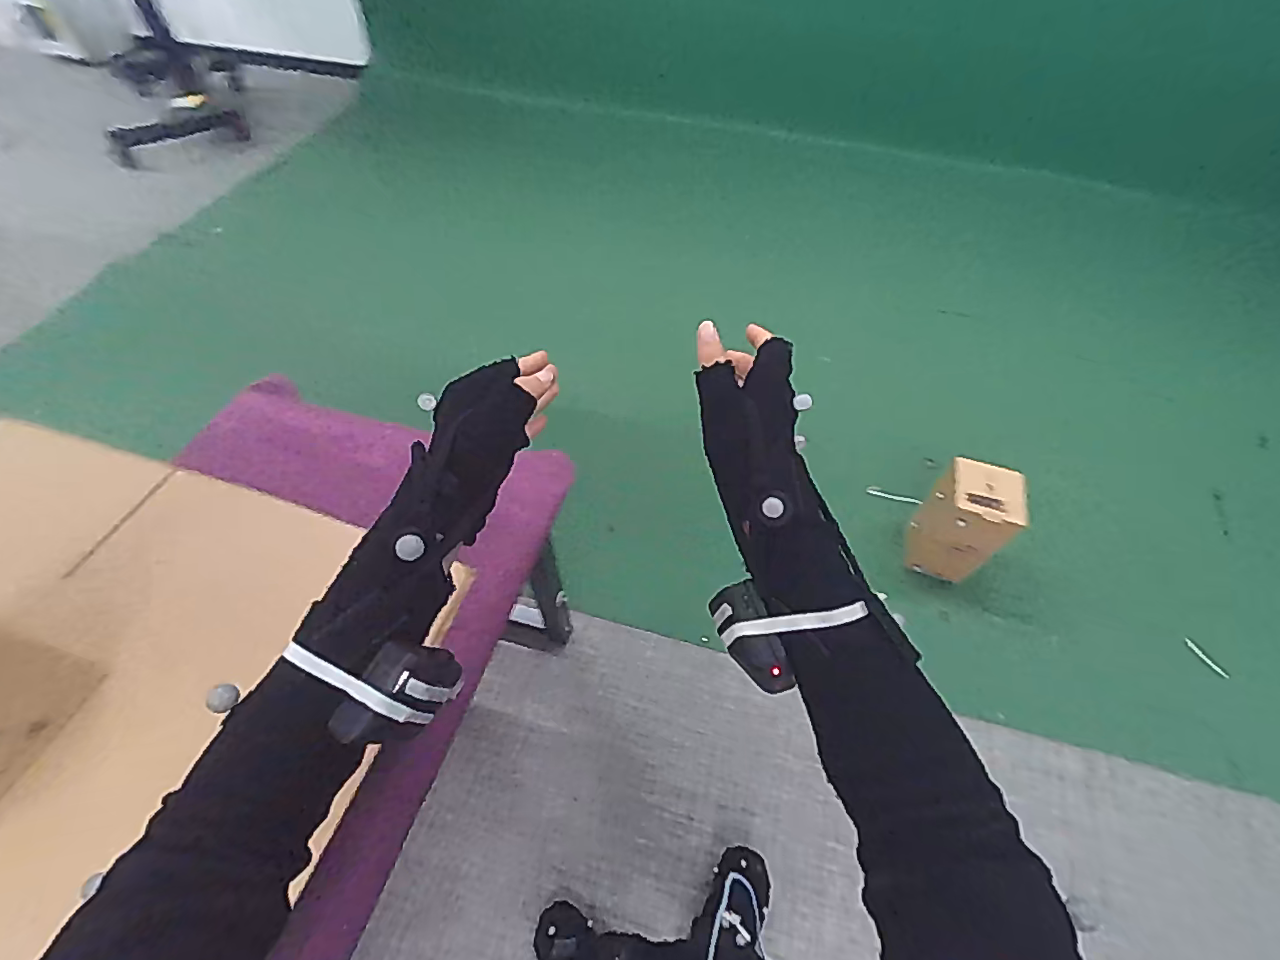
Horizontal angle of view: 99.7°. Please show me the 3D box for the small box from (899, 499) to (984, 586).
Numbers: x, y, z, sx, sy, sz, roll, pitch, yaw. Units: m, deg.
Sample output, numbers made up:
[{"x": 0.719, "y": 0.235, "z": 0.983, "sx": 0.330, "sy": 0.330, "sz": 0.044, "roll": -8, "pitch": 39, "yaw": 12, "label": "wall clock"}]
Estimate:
[{"x": 0.877, "y": 0.188, "z": 1.586, "sx": 0.168, "sy": 0.176, "sz": 0.179, "roll": 15, "pitch": 57, "yaw": 8, "label": "small box"}]
